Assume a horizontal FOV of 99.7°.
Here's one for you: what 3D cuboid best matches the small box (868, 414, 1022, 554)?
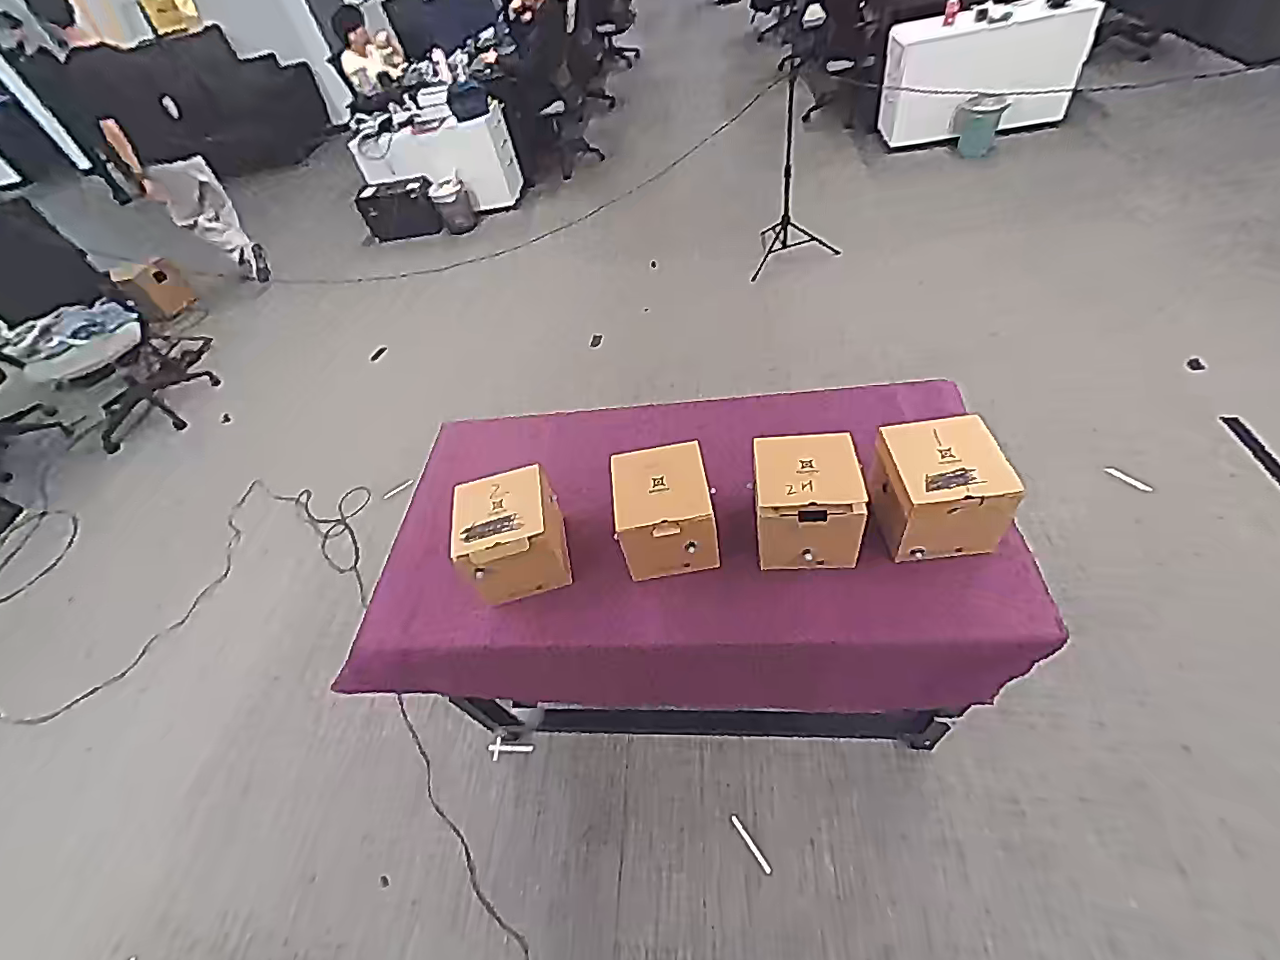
[{"bbox_3d":[0.507,0.016,0.929,0.168,0.176,0.179,-7,48,7],"label":"small box"}]

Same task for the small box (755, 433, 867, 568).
[{"bbox_3d":[0.290,0.037,0.959,0.168,0.176,0.179,-2,50,11],"label":"small box"}]

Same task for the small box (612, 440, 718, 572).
[{"bbox_3d":[0.047,0.056,1.000,0.168,0.176,0.179,-9,49,4],"label":"small box"}]
